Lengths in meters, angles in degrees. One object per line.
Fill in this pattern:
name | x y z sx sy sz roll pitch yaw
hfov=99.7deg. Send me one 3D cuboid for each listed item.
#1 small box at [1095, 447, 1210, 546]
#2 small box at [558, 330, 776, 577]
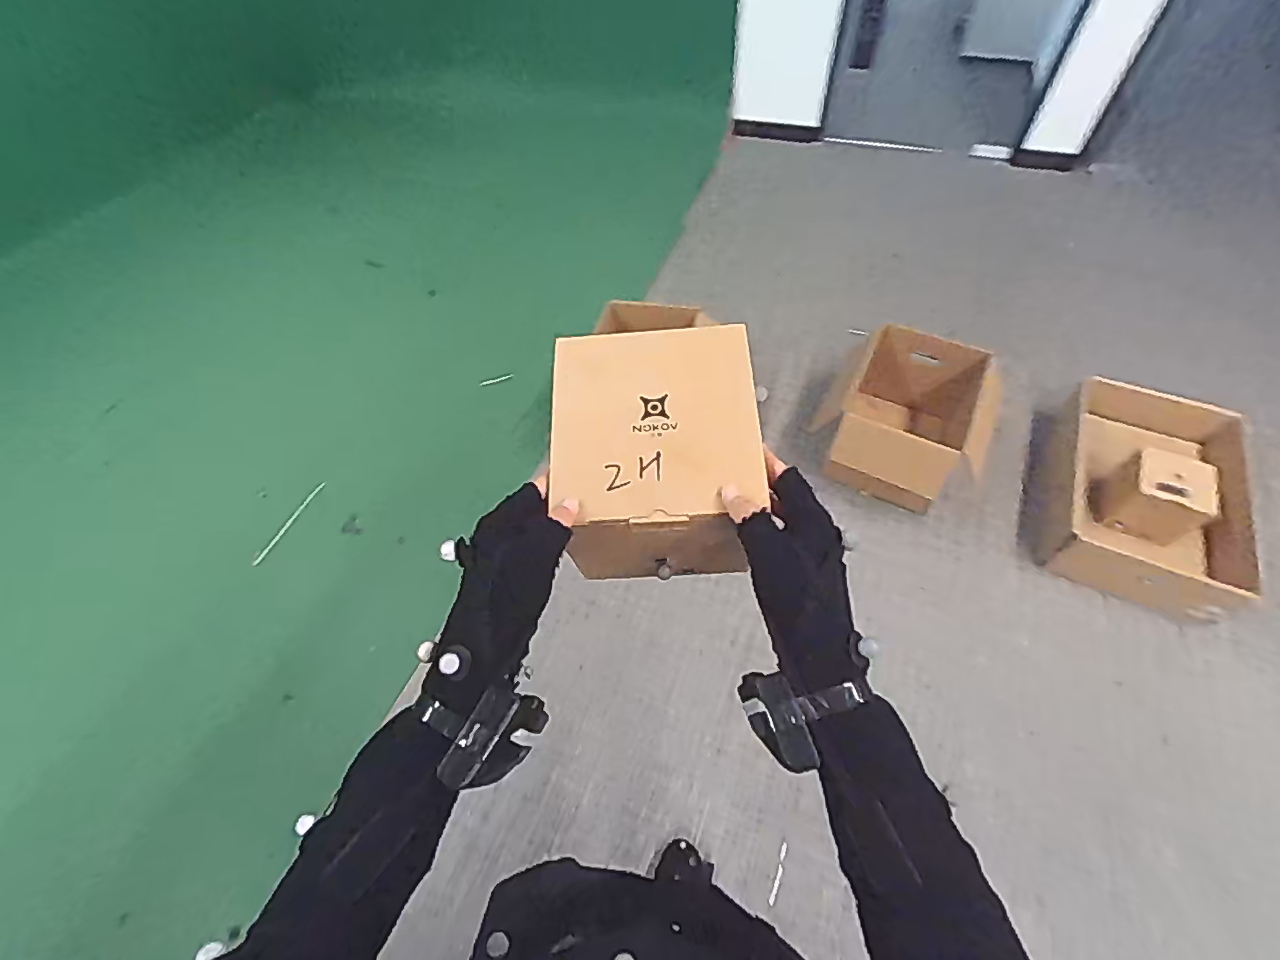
small box | 1.372 0.050 1.457 0.168 0.176 0.179 23 58 18
small box | 0.025 -0.016 0.509 0.168 0.176 0.179 -2 65 4
